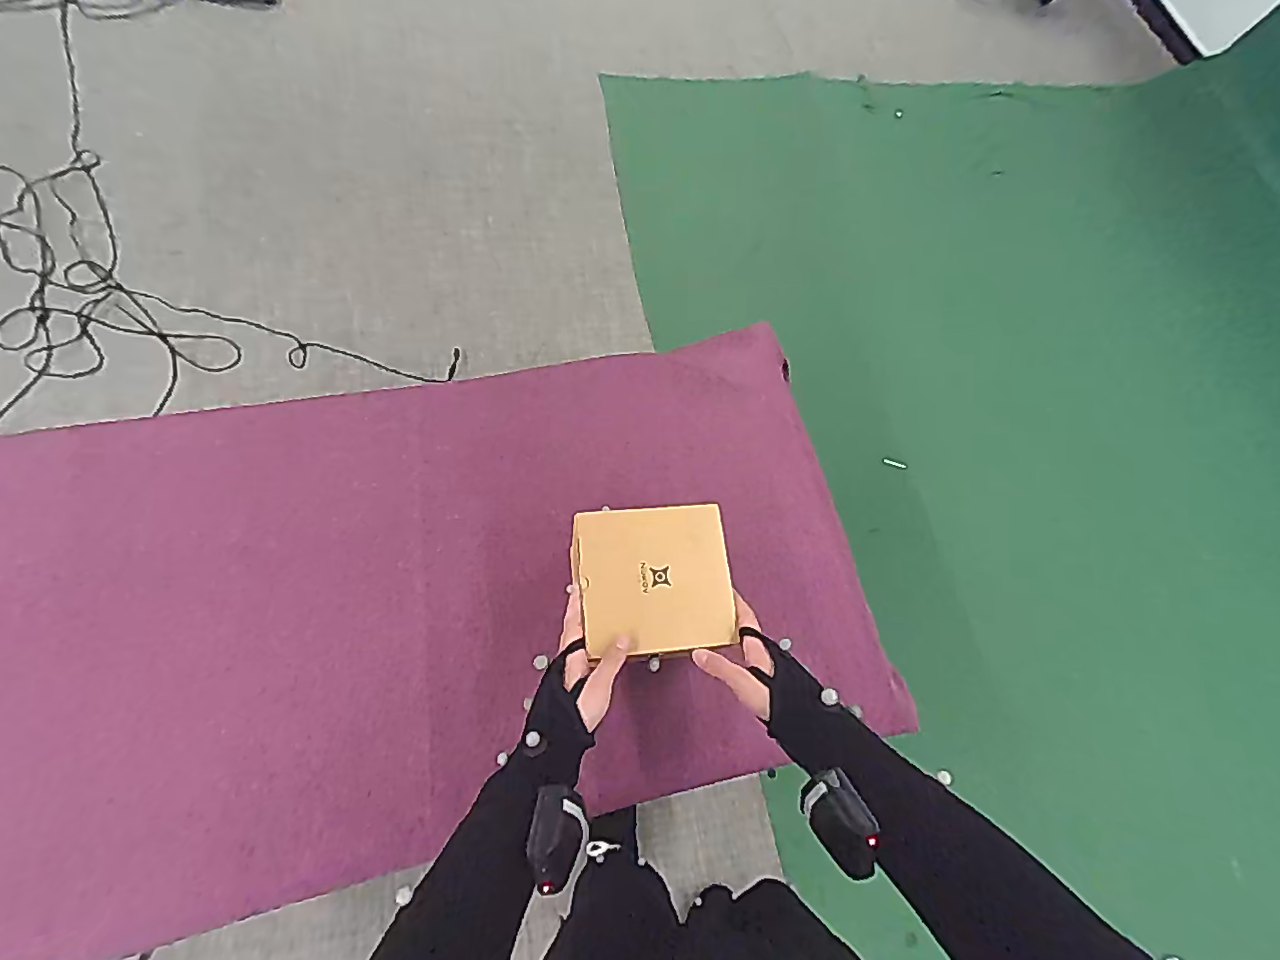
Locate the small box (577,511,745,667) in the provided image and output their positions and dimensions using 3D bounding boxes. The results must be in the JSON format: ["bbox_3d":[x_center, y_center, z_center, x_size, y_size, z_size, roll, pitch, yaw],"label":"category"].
[{"bbox_3d":[0.014,0.143,0.684,0.179,0.176,0.168,-3,70,-9],"label":"small box"}]
